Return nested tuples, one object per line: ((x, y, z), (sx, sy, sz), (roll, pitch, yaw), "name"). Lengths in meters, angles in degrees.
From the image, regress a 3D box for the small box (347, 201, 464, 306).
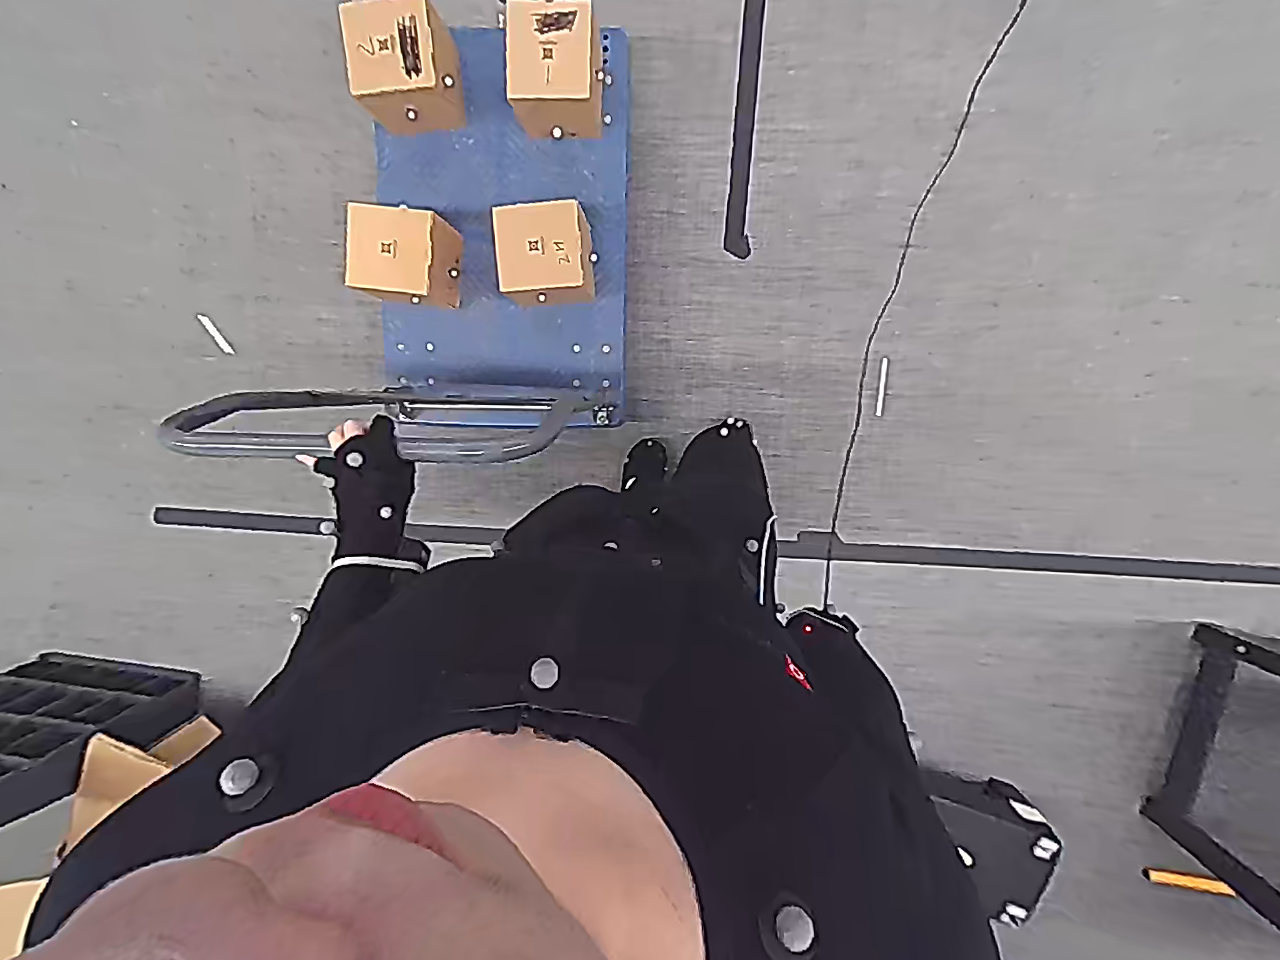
((-0.504, -0.482, 1.175), (0.179, 0.176, 0.168), (6, 98, 1), "small box")

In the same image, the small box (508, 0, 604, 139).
((-0.166, -0.833, 1.105), (0.168, 0.176, 0.179), (3, 99, 3), "small box")

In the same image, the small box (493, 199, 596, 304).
((-0.197, -0.479, 1.157), (0.179, 0.176, 0.168), (-3, 98, 4), "small box")
